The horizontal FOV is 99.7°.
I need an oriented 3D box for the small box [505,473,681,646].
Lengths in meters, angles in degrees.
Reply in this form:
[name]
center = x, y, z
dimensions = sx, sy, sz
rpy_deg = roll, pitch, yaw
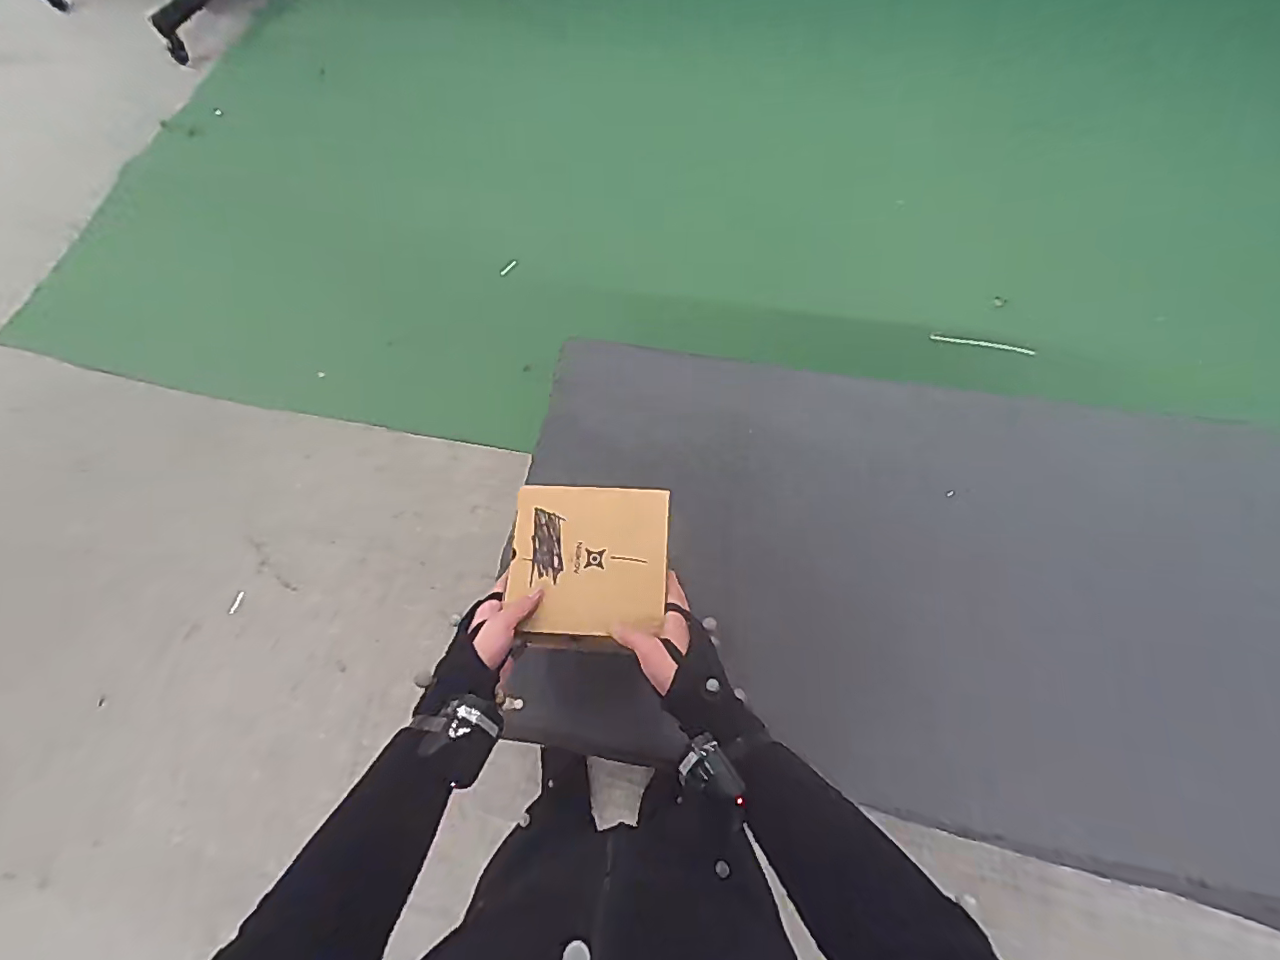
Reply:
[small box]
center = -0.046, 0.102, 0.646
dimensions = 0.179, 0.176, 0.168
rpy_deg = 3, 67, 0
